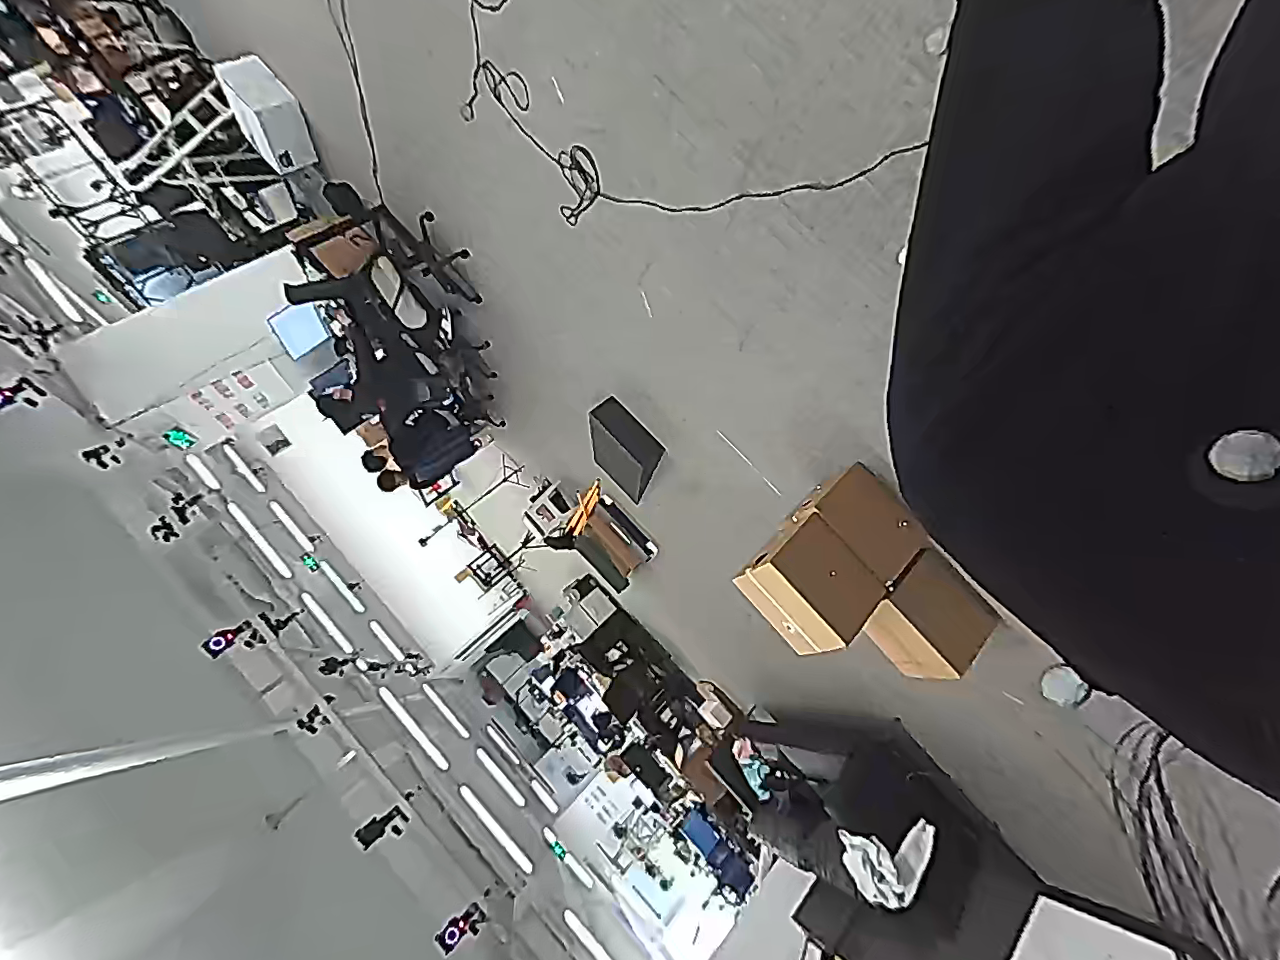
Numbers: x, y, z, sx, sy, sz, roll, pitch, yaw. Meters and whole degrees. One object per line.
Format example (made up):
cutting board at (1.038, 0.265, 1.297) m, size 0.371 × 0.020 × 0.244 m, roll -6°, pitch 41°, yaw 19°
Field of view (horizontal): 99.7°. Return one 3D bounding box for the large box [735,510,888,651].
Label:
large box at (0.657, 0.391, 2.100) m, size 0.408 × 0.320 × 0.320 m, roll 47°, pitch 153°, yaw 5°
